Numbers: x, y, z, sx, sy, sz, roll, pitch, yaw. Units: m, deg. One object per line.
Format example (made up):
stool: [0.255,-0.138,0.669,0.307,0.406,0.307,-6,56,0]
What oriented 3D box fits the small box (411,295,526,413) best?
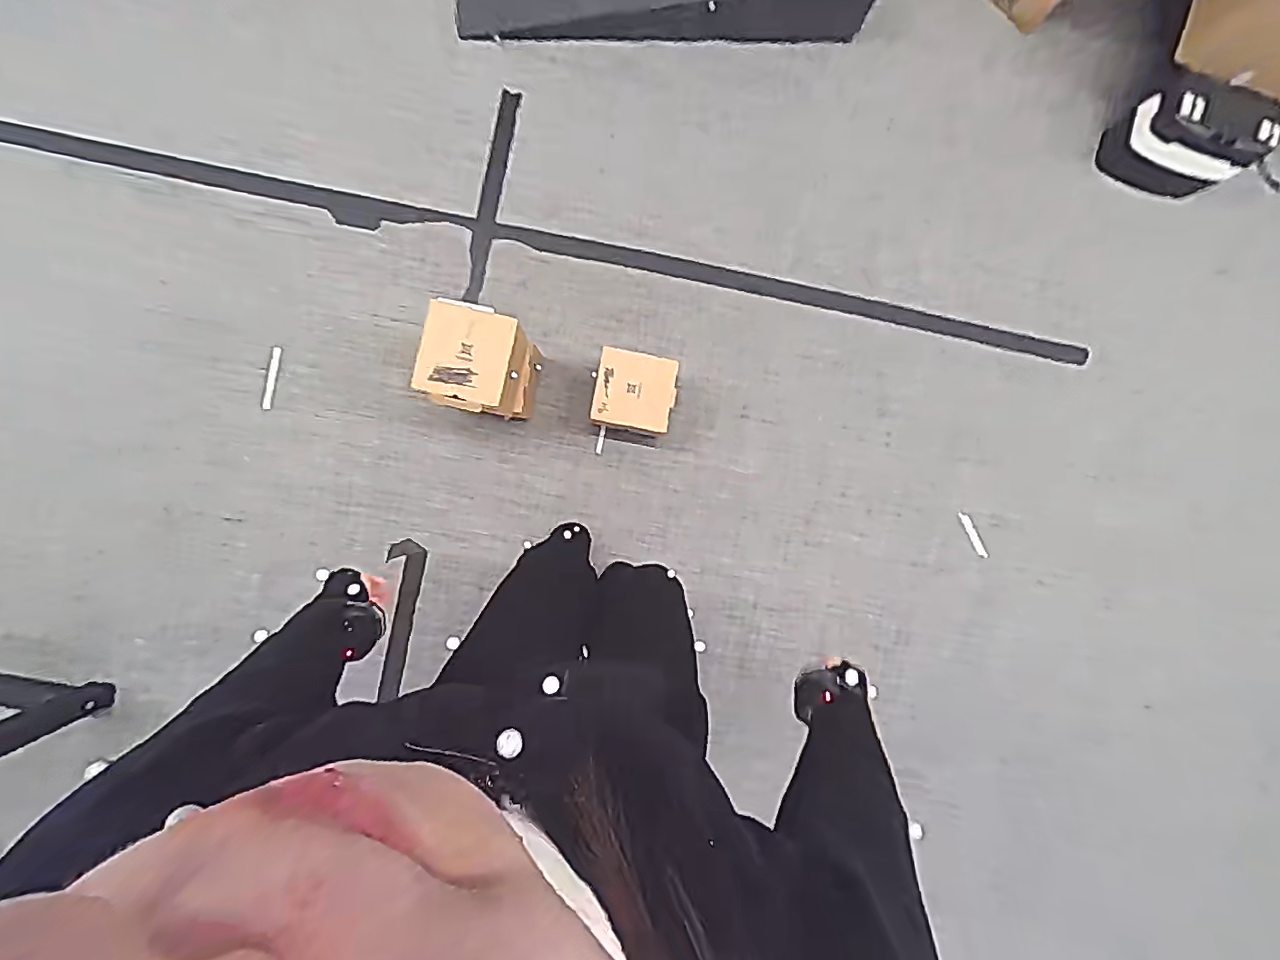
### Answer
small box: [-0.332,-0.241,1.082,0.168,0.176,0.179,13,89,-5]

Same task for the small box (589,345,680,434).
small box: [-0.018,-0.204,1.270,0.179,0.176,0.168,11,91,-5]

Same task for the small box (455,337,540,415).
small box: [-0.334,-0.247,1.246,0.179,0.176,0.168,10,91,-4]
